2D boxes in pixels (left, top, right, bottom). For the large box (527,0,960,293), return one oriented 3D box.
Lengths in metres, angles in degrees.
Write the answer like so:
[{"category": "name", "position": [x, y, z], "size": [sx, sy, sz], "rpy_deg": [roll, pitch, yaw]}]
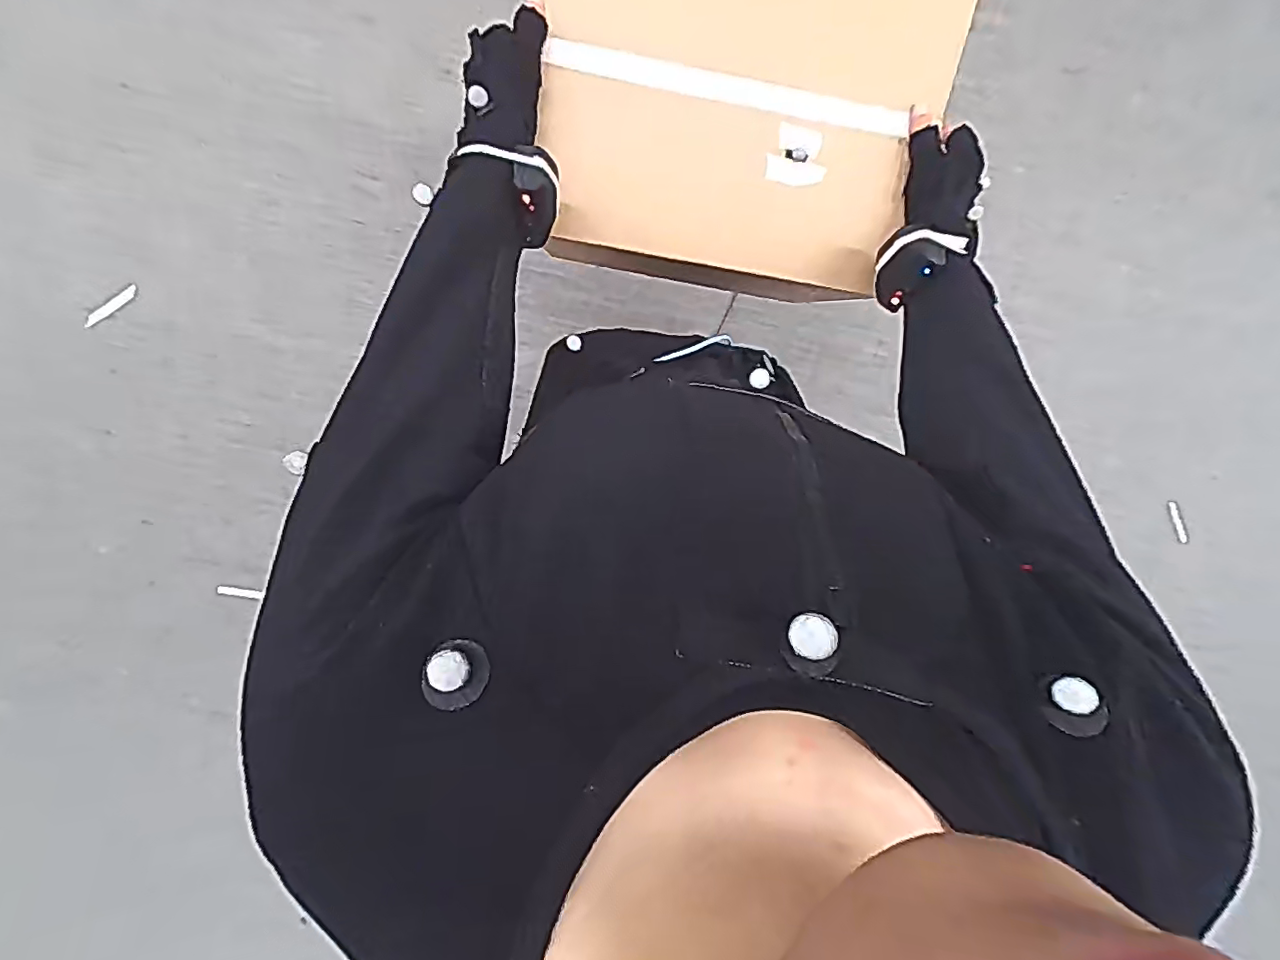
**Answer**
[{"category": "large box", "position": [0.087, -0.427, 0.679], "size": [0.408, 0.320, 0.320], "rpy_deg": [8, 108, -6]}]
